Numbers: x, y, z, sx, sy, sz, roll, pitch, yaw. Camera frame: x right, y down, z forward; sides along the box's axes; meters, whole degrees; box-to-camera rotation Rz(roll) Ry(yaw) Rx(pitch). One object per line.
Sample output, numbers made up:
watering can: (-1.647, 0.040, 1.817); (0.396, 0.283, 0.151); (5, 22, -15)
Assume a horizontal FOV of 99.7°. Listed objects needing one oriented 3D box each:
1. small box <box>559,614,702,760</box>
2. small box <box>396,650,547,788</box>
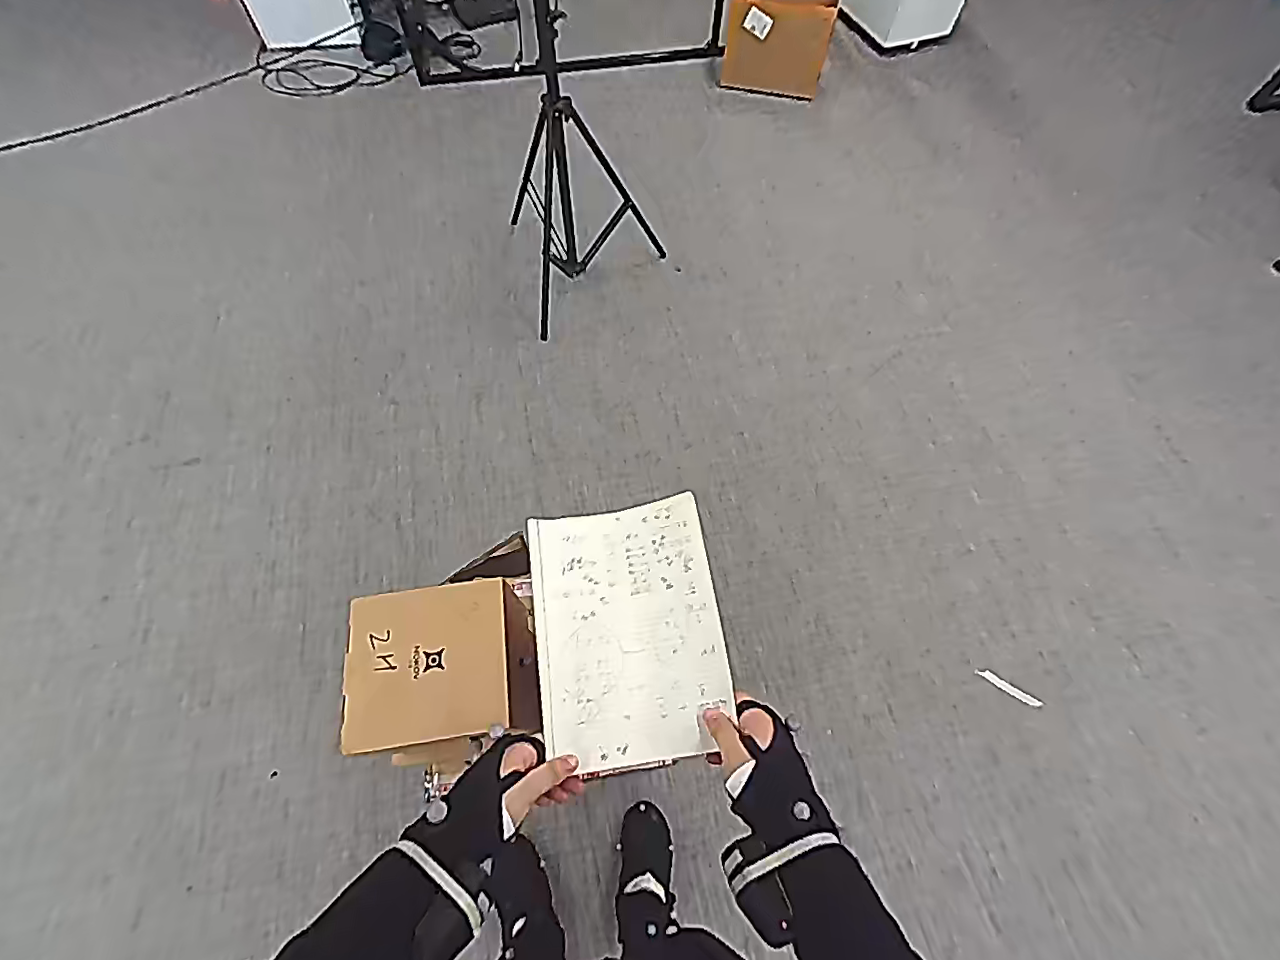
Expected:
small box: (-0.021, 0.317, 0.826); (0.179, 0.176, 0.168); (-11, 65, -8)
small box: (-0.234, 0.351, 0.803); (0.179, 0.176, 0.168); (-4, 65, -2)
